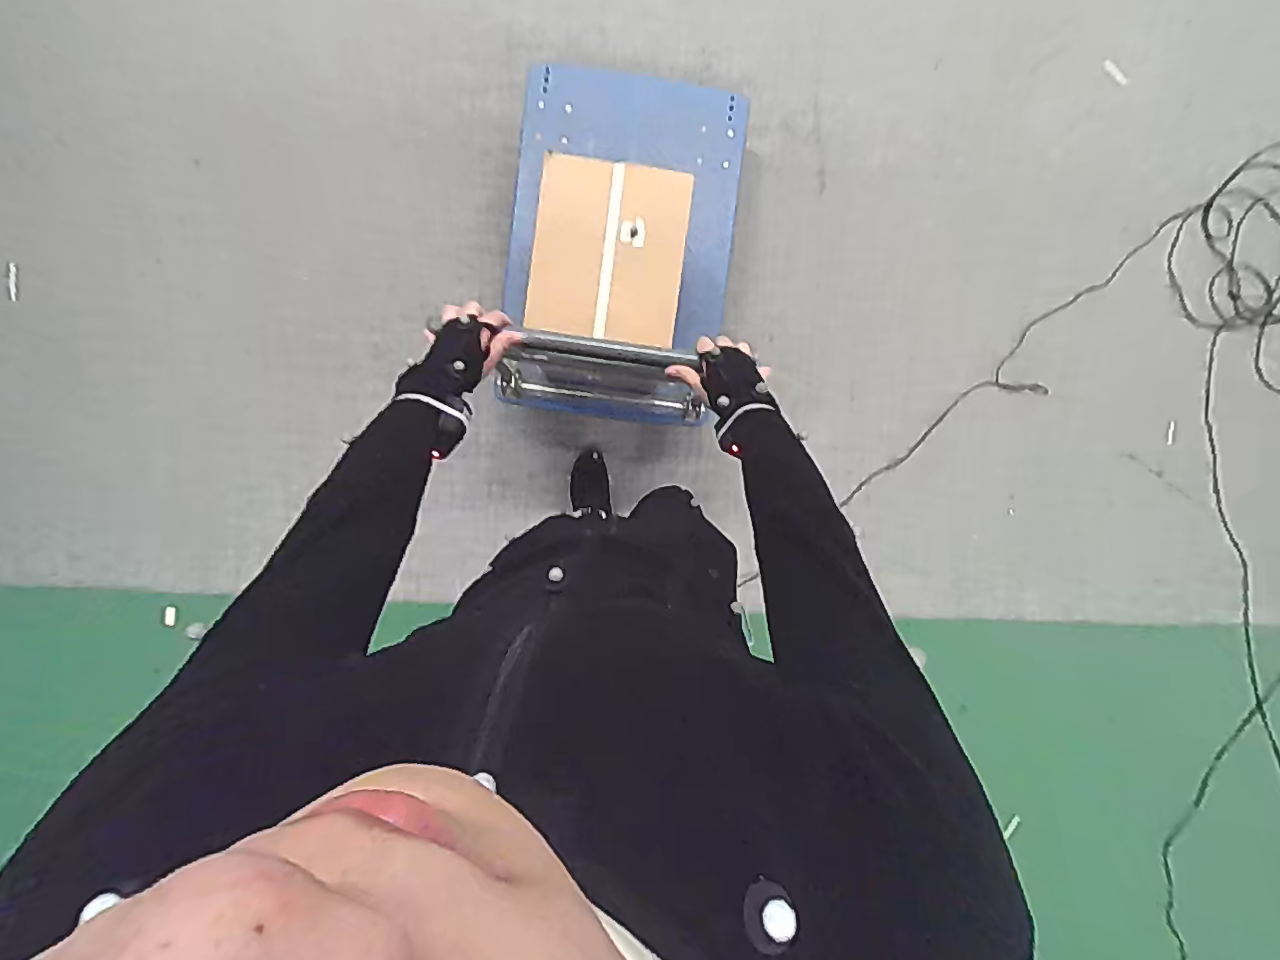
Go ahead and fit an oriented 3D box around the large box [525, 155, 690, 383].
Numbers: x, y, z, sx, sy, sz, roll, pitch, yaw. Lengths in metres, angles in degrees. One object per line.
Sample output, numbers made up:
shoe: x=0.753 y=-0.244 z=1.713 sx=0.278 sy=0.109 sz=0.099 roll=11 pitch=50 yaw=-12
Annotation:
large box: x=-0.072 y=-0.465 z=1.279 sx=0.320 sy=0.320 sz=0.408 roll=8 pitch=91 yaw=-3
